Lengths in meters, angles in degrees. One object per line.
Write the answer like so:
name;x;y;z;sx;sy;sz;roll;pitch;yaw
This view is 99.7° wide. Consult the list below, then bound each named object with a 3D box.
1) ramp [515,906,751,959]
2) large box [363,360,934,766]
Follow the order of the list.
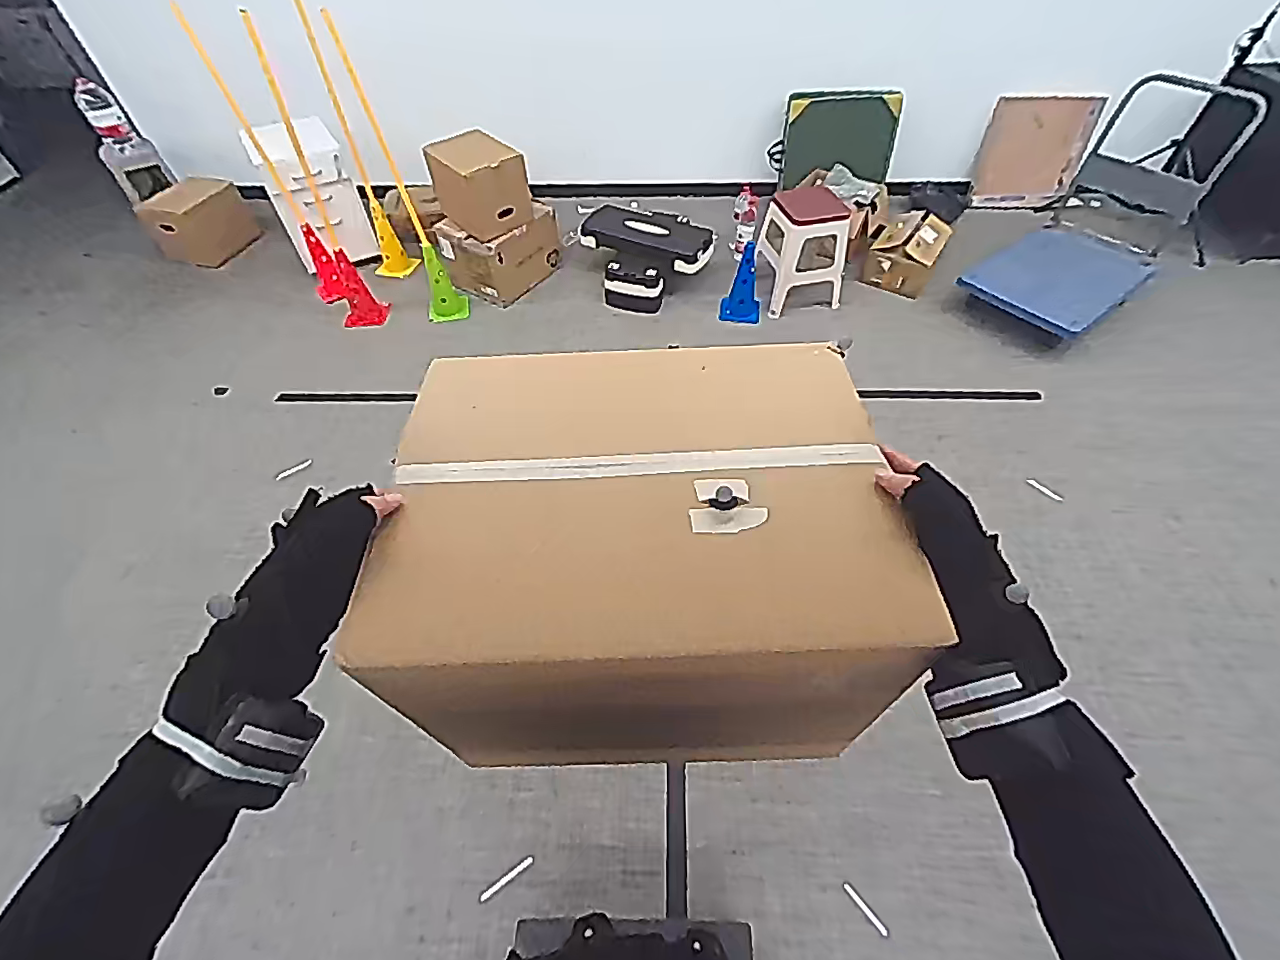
ramp;-0.018;1.348;0.914;0.509;0.206;0.991;0;52;-1
large box;0.004;0.095;0.578;0.408;0.320;0.320;-2;51;0
